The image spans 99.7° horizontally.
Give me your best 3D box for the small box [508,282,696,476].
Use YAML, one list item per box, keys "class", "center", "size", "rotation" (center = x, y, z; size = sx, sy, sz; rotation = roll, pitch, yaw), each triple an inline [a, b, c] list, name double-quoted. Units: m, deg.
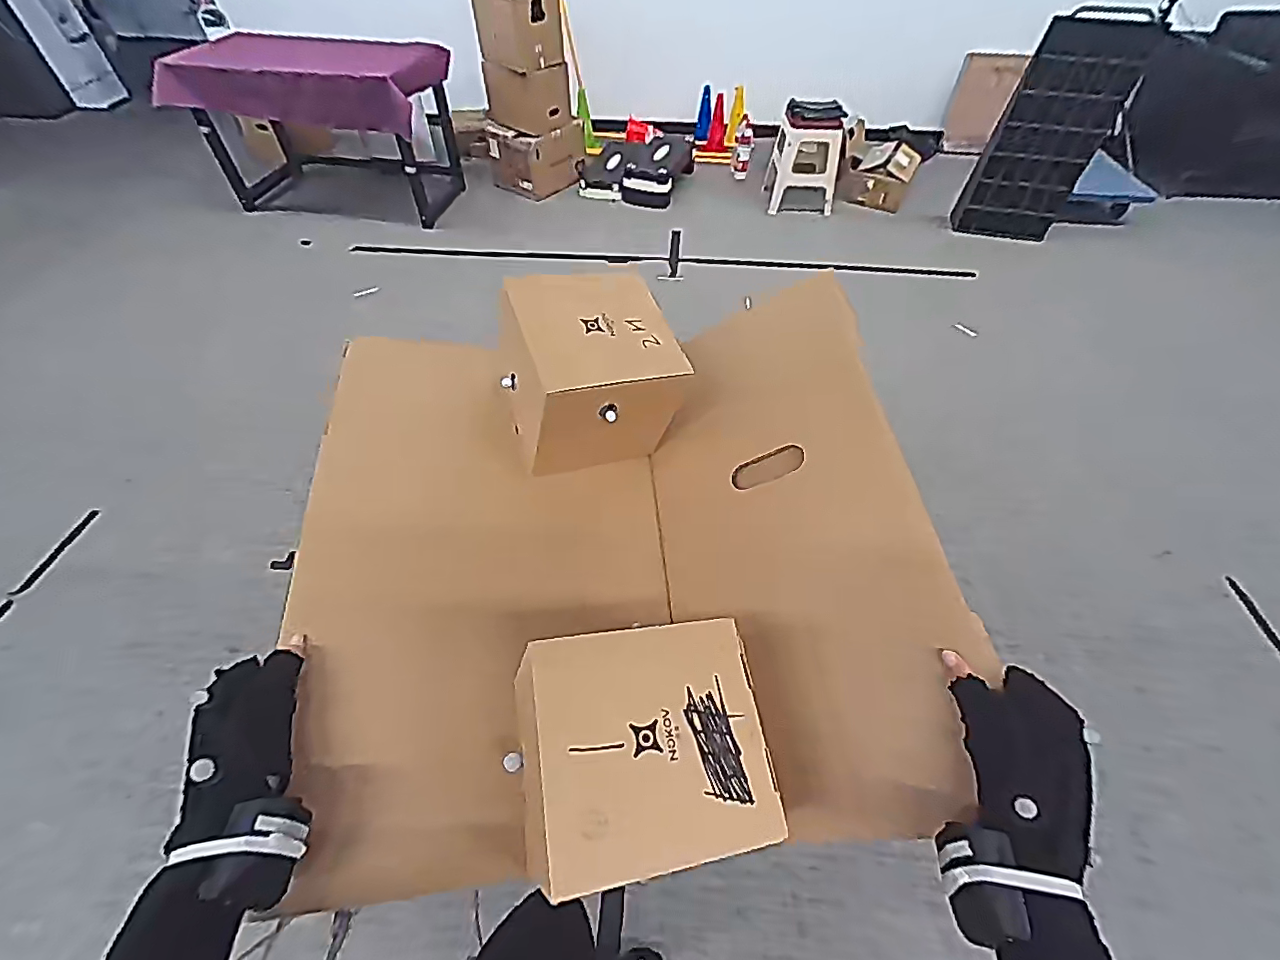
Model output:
- class: "small box"
  center: [-0.061, -0.120, 0.670]
  size: [0.179, 0.176, 0.168]
  rotation: [-11, 64, -24]
